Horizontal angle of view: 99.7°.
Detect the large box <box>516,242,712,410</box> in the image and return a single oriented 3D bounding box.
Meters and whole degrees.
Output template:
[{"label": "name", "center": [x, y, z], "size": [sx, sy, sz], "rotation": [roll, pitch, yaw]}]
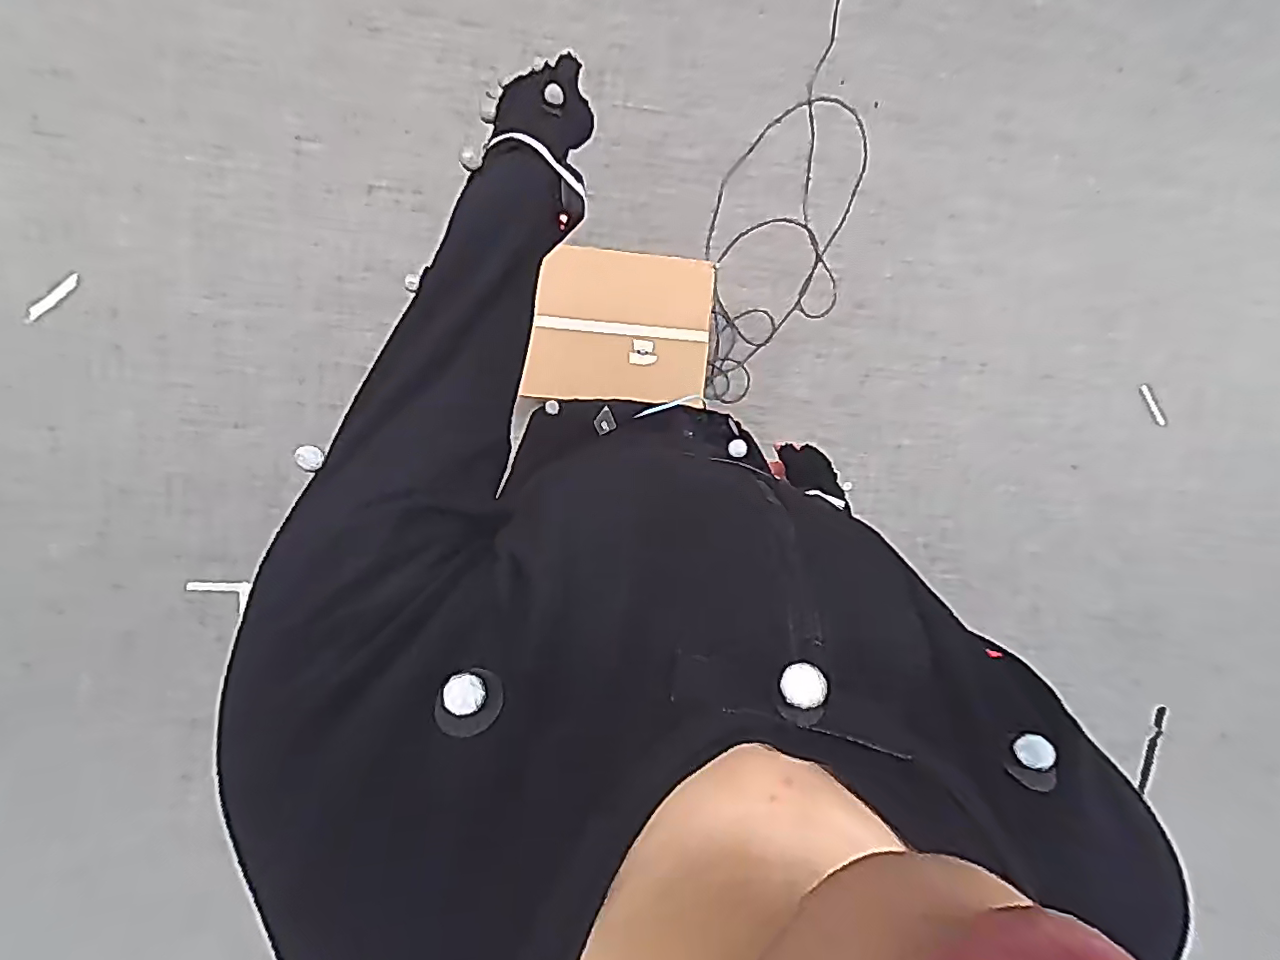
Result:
[{"label": "large box", "center": [-0.069, -0.339, 1.284], "size": [0.408, 0.320, 0.320], "rotation": [5, 96, -5]}]
